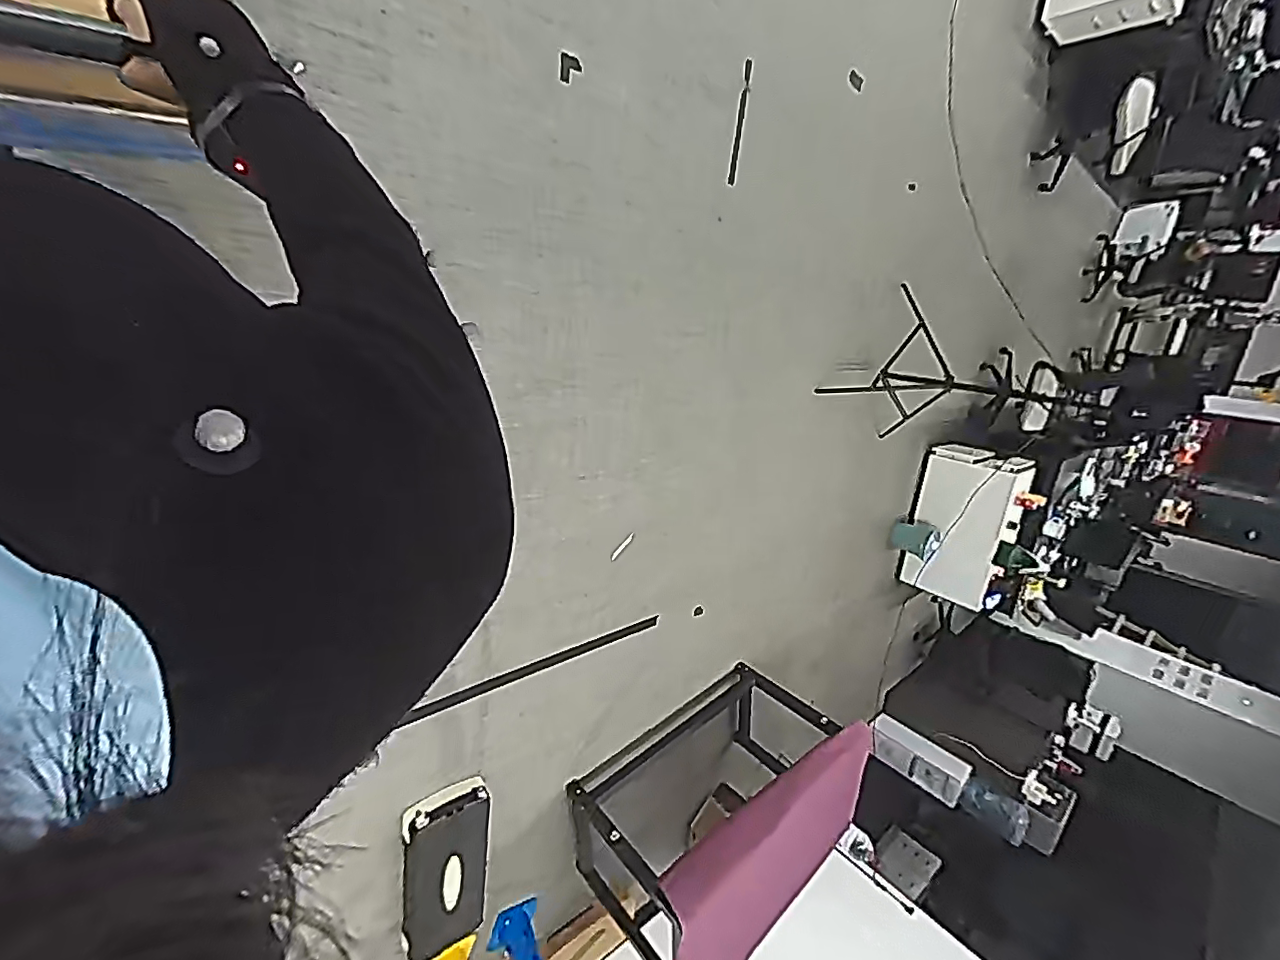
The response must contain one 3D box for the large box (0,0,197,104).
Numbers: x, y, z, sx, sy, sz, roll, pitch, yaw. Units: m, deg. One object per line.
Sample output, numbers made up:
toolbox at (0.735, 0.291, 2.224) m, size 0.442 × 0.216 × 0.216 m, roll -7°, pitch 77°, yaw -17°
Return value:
large box at (-0.843, -0.701, 0.655) m, size 0.408 × 0.320 × 0.320 m, roll -17°, pitch 118°, yaw -38°
